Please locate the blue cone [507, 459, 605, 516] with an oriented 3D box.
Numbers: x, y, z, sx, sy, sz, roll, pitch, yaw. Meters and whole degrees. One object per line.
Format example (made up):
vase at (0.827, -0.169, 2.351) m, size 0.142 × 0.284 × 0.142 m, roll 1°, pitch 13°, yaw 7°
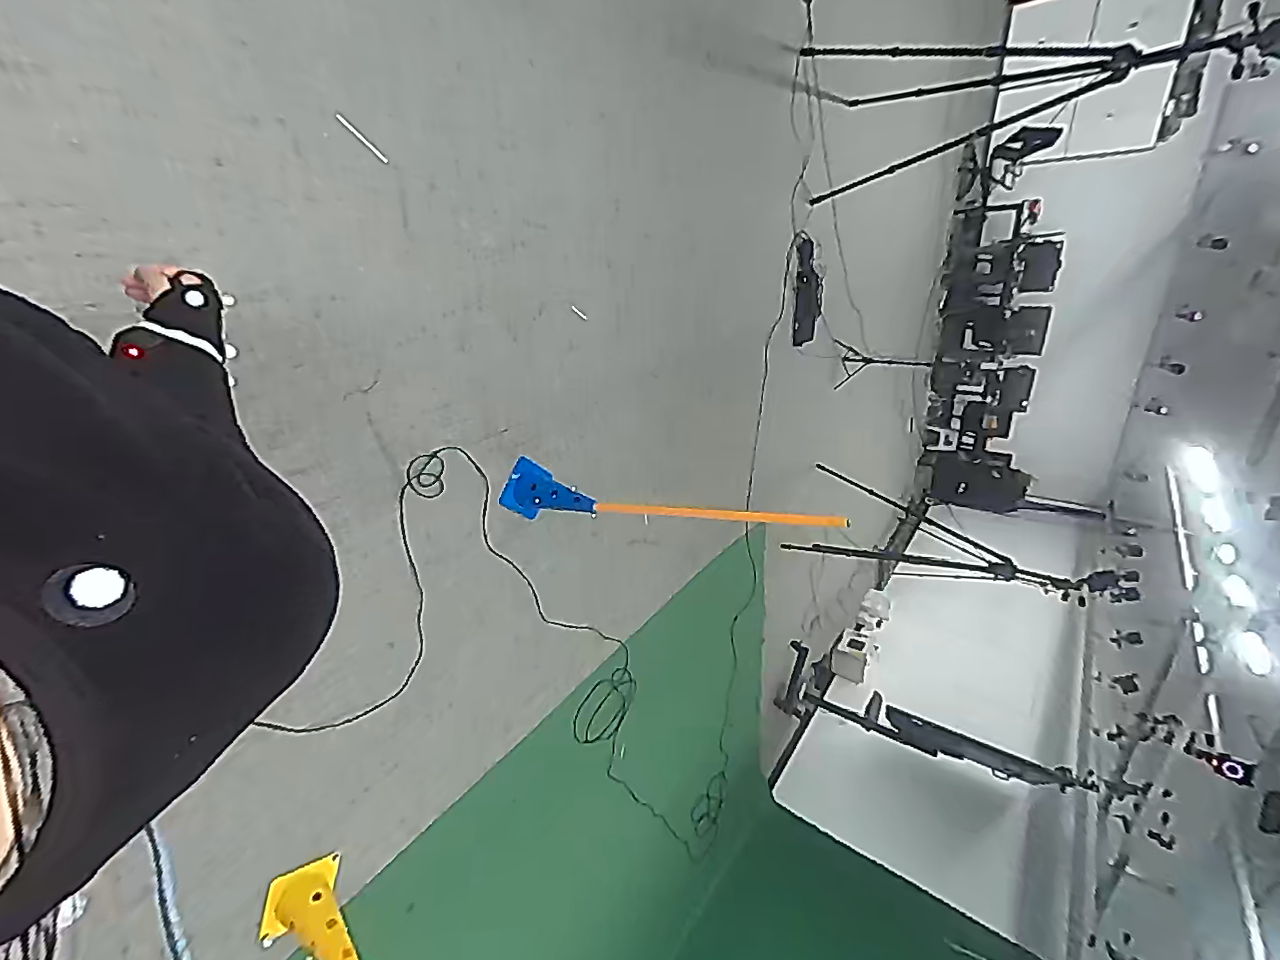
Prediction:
blue cone at (-0.285, 0.054, 1.954) m, size 0.192 × 0.380 × 0.193 m, roll 35°, pitch 71°, yaw -52°
